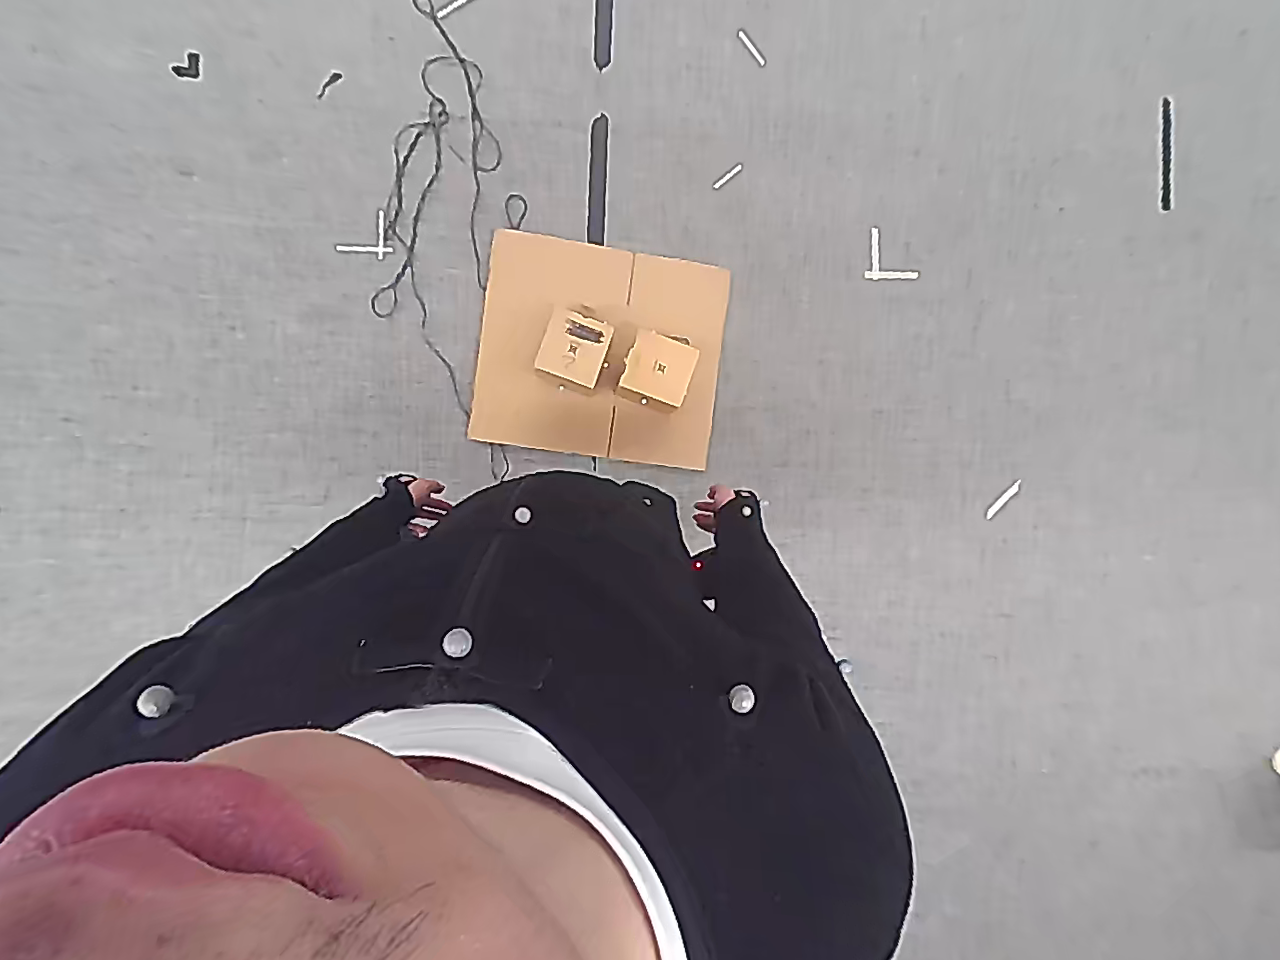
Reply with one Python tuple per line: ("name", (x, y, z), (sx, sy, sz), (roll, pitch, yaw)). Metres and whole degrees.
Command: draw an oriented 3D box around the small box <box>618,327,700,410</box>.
("small box", (0.047, -0.303, 1.519), (0.179, 0.176, 0.168), (20, 89, -5))
